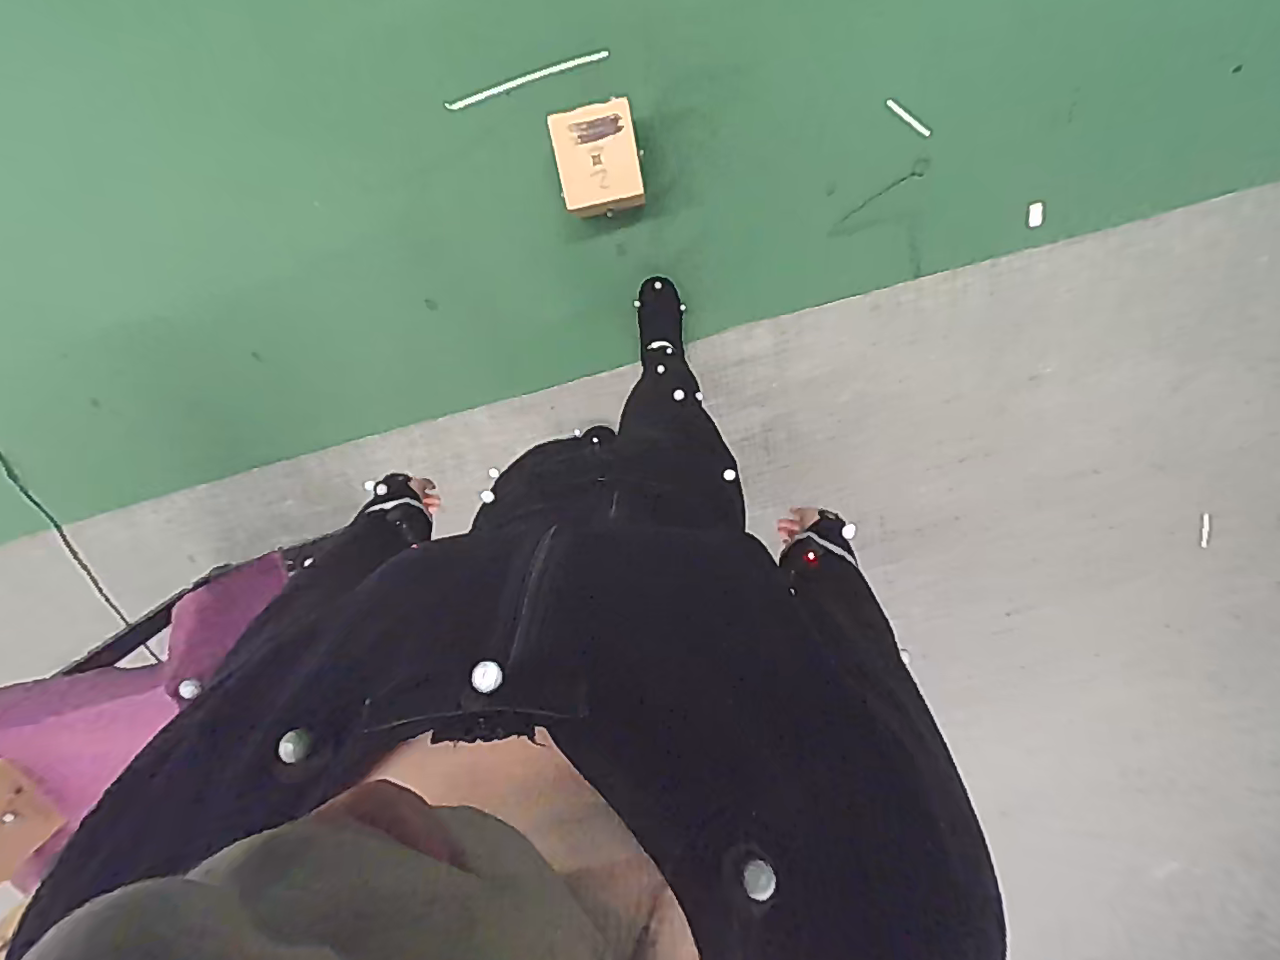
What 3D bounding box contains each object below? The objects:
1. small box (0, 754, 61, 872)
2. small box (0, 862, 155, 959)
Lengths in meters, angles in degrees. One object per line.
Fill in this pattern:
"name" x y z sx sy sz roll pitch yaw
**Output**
"small box" -1.162 0.597 0.903 0.179 0.176 0.168 -16 110 4
"small box" -1.079 0.856 1.003 0.179 0.176 0.168 -17 109 7
